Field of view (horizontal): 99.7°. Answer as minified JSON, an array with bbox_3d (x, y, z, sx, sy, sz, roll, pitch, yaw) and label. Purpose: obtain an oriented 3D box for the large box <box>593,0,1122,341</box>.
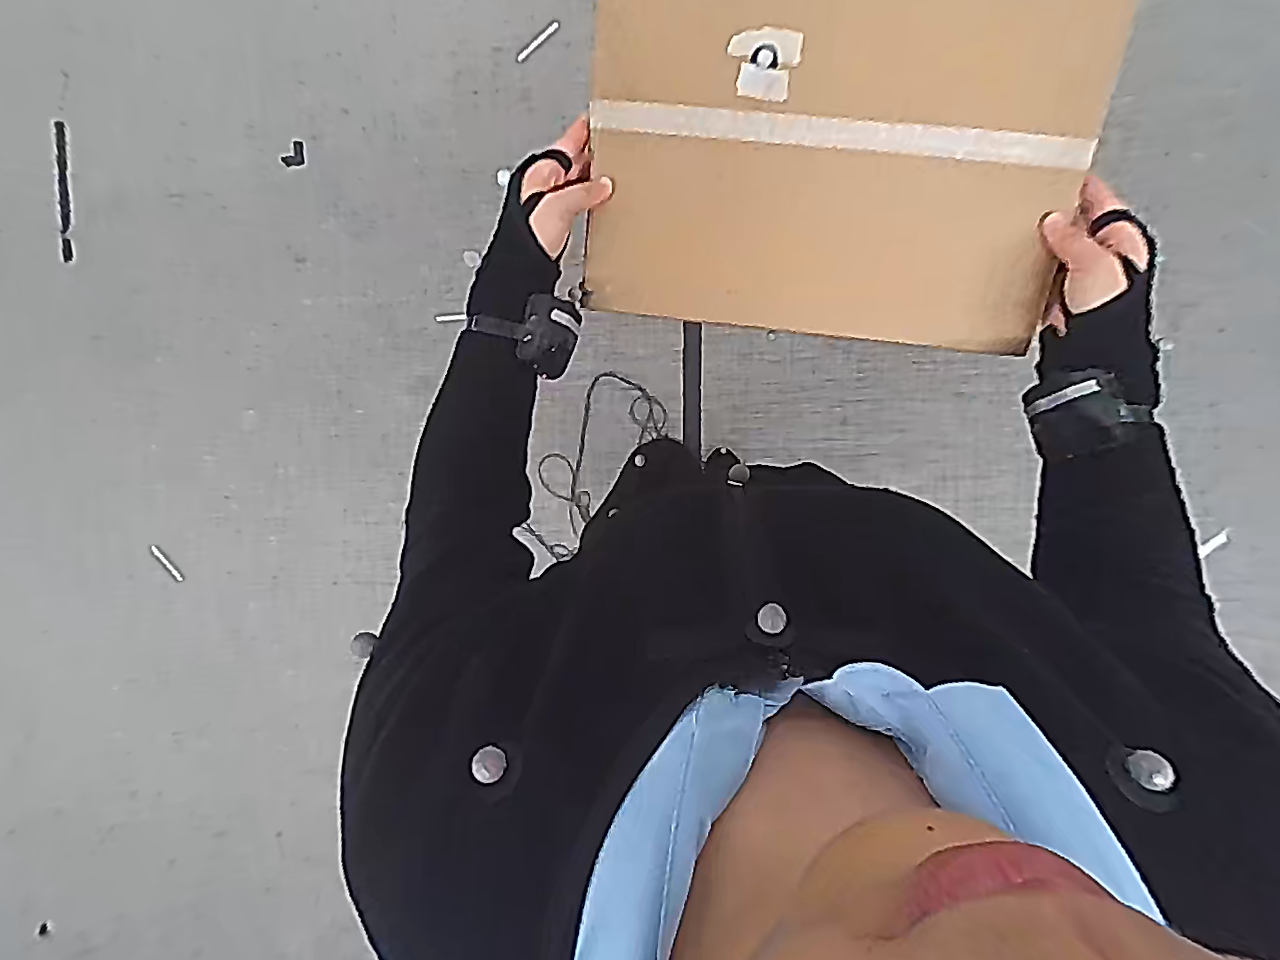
[{"bbox_3d":[0.179,-0.336,0.597,0.408,0.320,0.320,6,107,4],"label":"large box"}]
